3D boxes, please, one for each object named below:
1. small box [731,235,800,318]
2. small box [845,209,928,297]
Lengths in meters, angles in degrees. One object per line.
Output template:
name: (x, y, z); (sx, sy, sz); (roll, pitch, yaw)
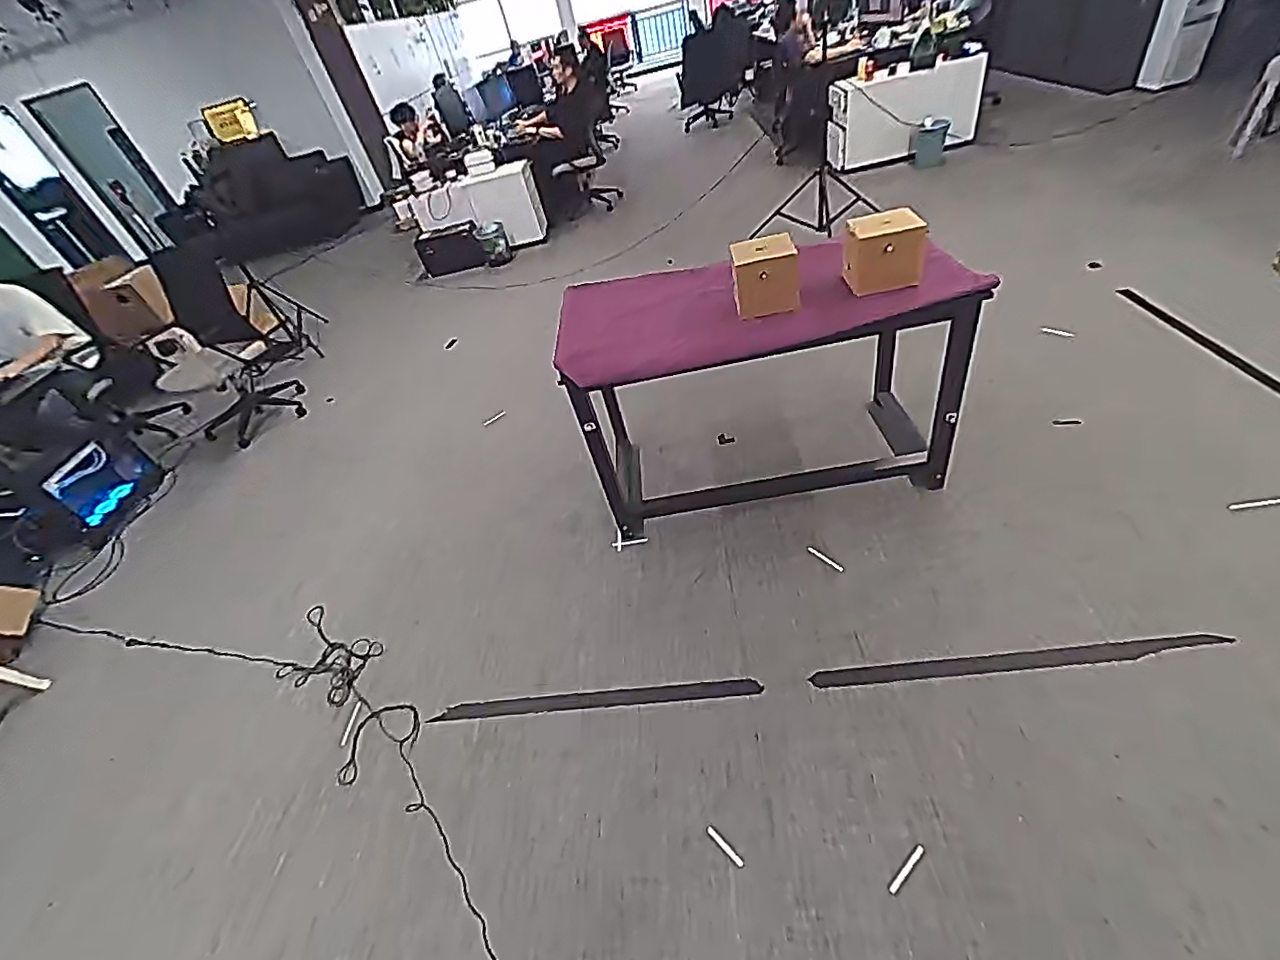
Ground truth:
small box: (0.372, -0.598, 1.604); (0.179, 0.176, 0.168); (-8, 42, 9)
small box: (0.700, -0.650, 1.554); (0.179, 0.176, 0.168); (-8, 41, 10)
